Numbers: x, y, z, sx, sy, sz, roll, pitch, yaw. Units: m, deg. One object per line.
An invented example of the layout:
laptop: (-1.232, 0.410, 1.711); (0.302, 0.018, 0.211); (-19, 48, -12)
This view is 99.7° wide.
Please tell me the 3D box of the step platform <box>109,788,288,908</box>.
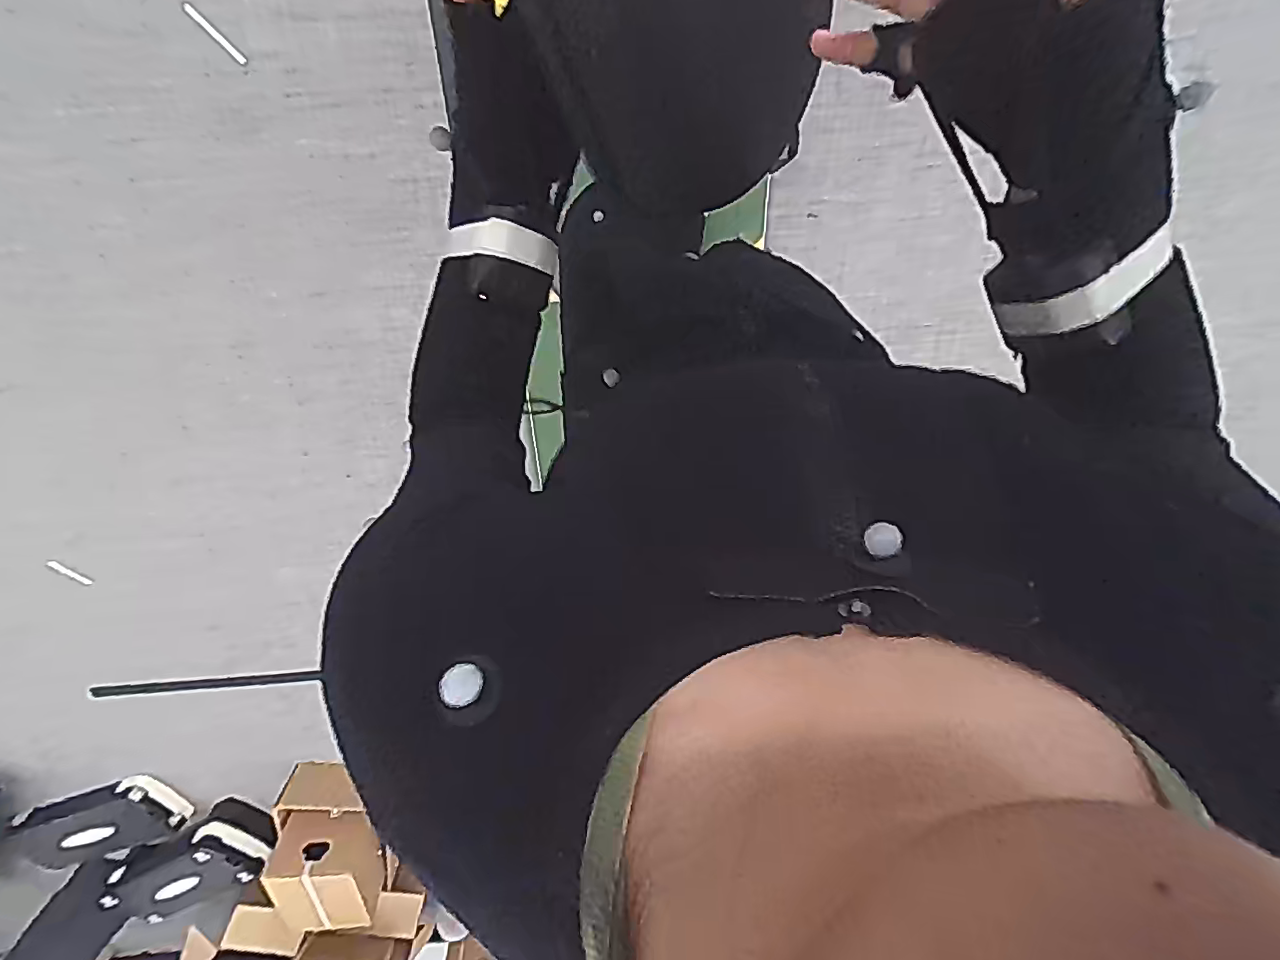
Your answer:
step platform: (-1.868, 1.568, 2.292); (0.684, 0.204, 0.286); (-30, 118, 12)
